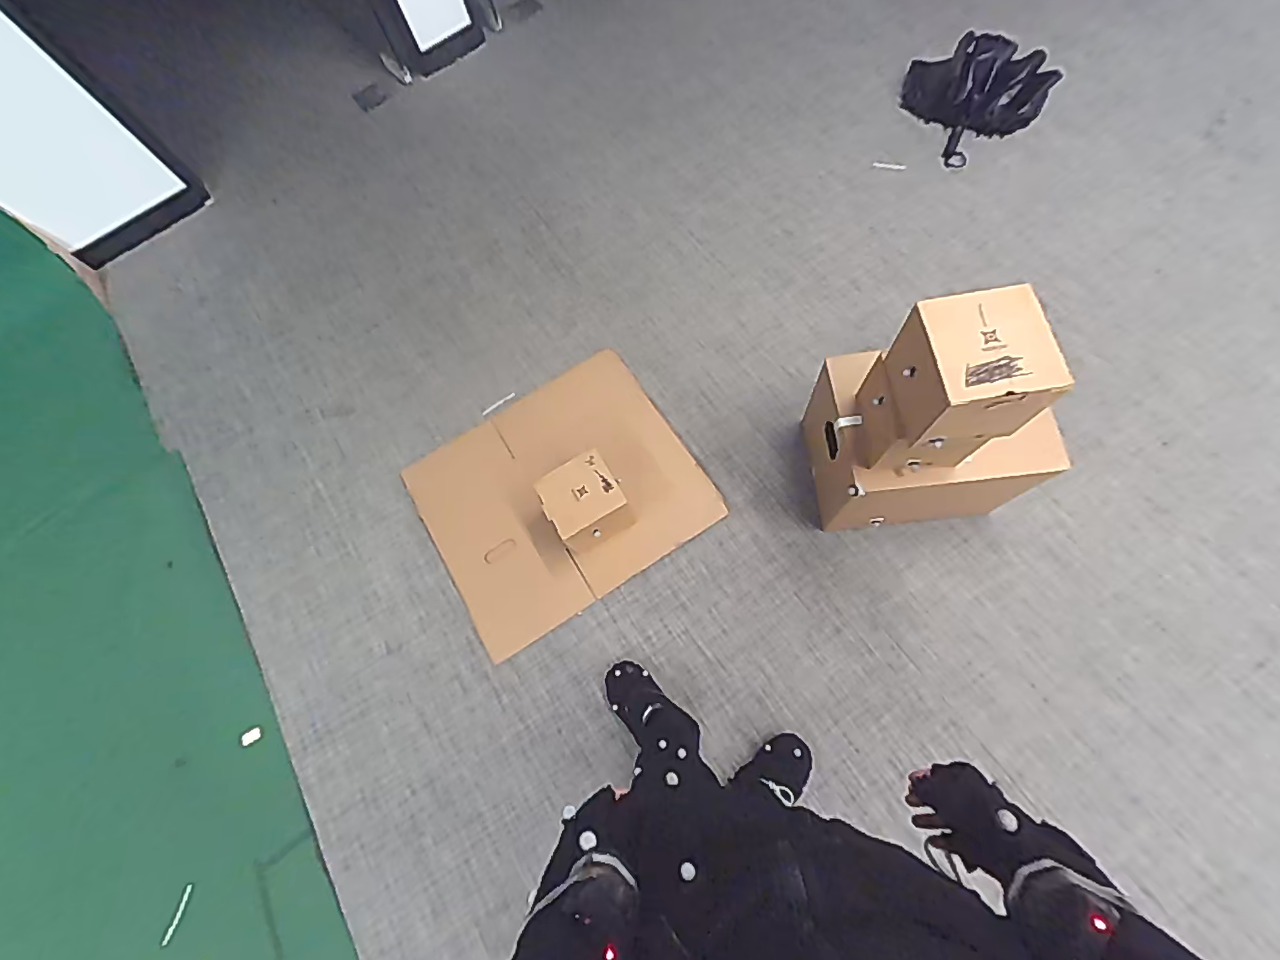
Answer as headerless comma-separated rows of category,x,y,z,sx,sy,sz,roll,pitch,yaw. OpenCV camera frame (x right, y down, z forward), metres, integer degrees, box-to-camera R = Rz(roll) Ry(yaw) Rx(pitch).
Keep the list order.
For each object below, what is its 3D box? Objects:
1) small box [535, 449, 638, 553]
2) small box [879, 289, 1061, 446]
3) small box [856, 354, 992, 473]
small box,-0.126,0.061,1.344,0.179,0.176,0.168,-34,68,-3
small box,0.502,-0.164,0.855,0.168,0.176,0.179,-11,71,4
small box,0.518,-0.125,1.014,0.168,0.176,0.179,-4,72,6
